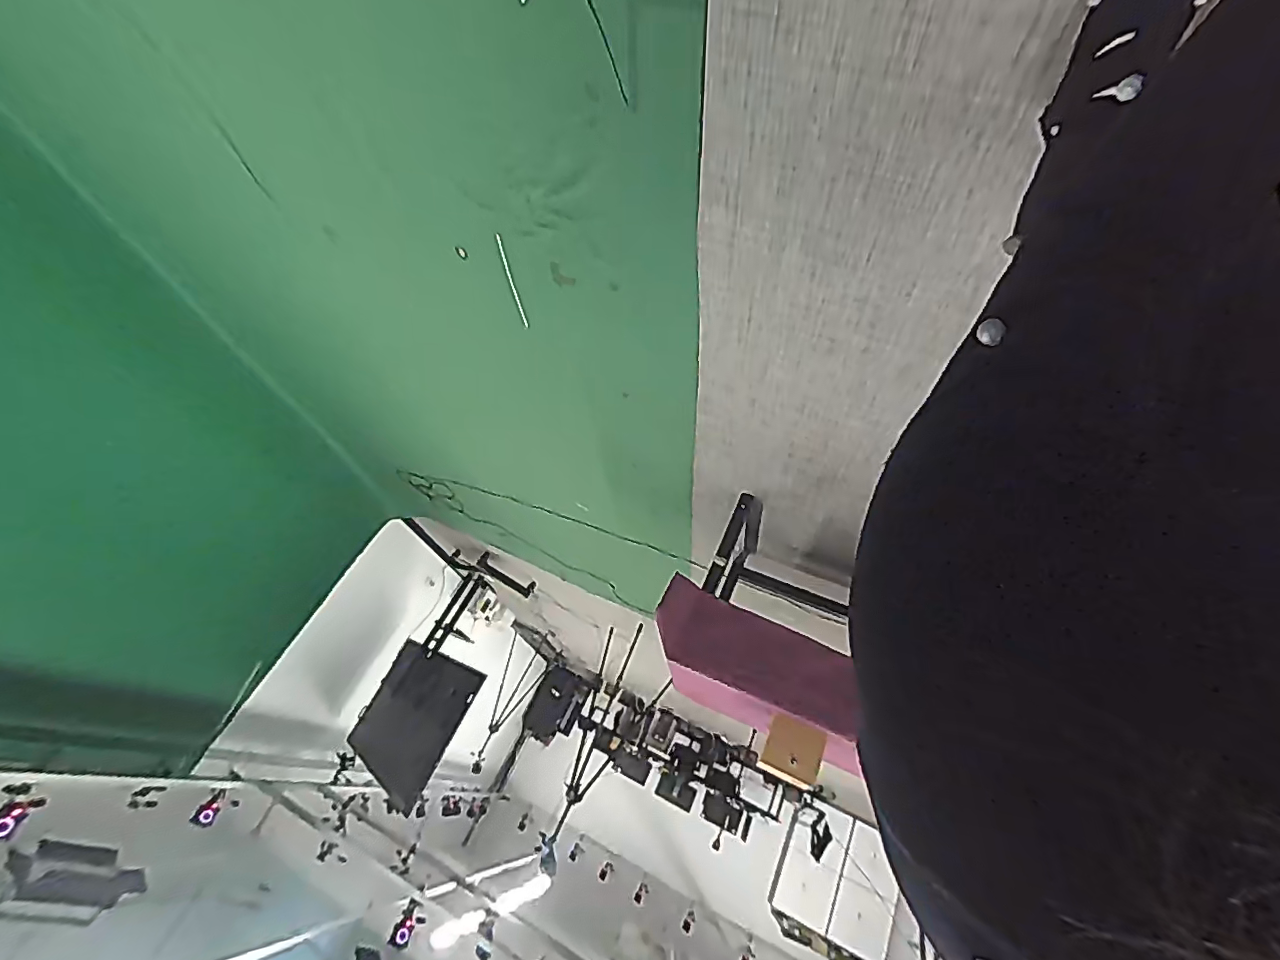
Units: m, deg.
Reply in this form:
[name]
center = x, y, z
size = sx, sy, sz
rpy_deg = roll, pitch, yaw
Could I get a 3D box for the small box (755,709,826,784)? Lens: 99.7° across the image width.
[small box]
center = 0.501, 0.887, 1.802
size = 0.179, 0.176, 0.168
rpy_deg = 21, 153, 18
